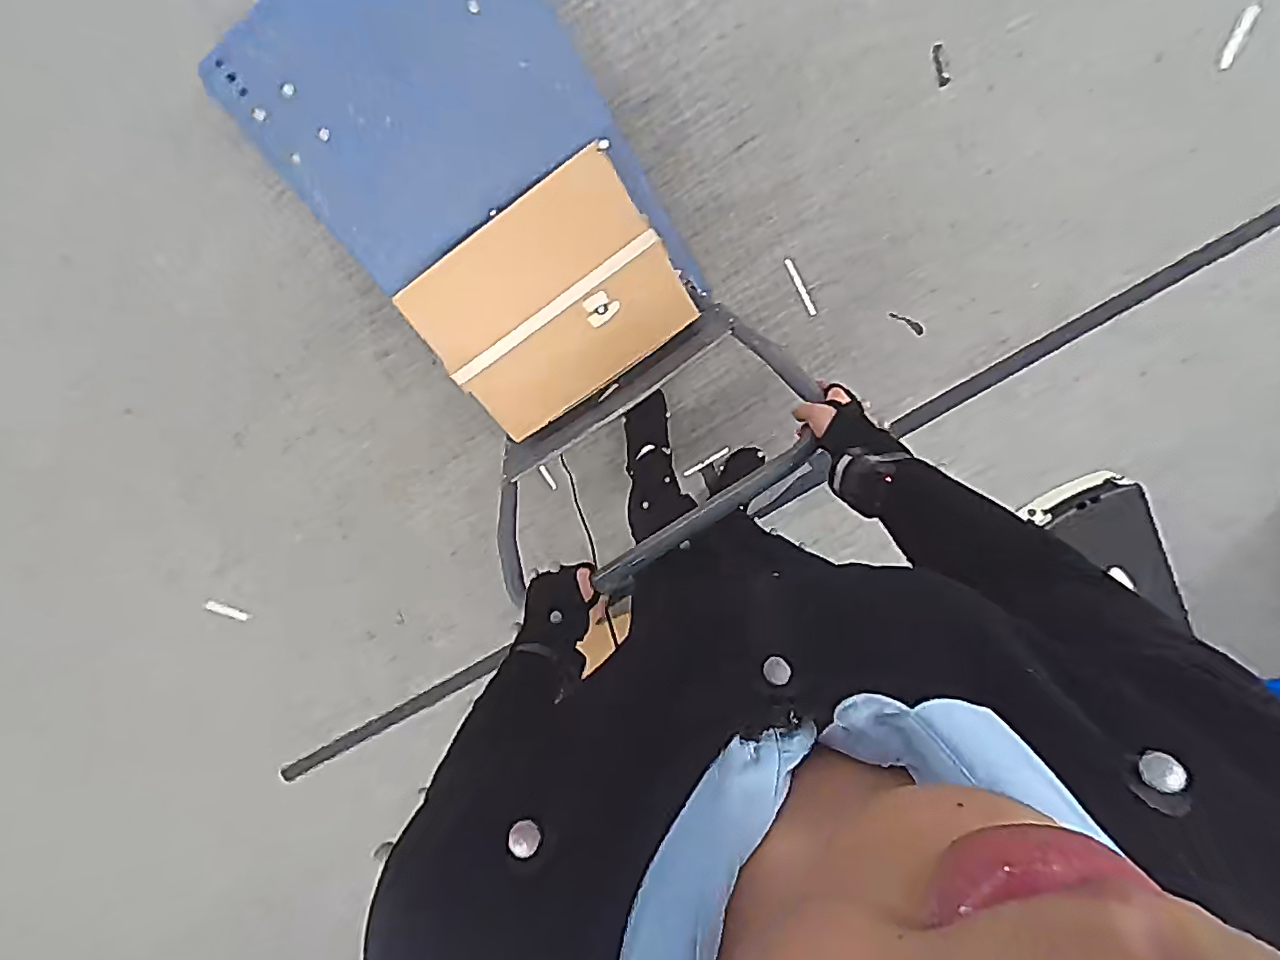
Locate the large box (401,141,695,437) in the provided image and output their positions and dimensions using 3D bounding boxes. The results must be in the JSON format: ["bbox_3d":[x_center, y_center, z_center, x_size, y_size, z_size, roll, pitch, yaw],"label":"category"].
[{"bbox_3d":[-0.168,-0.357,1.040,0.408,0.320,0.320,-34,117,8],"label":"large box"}]
